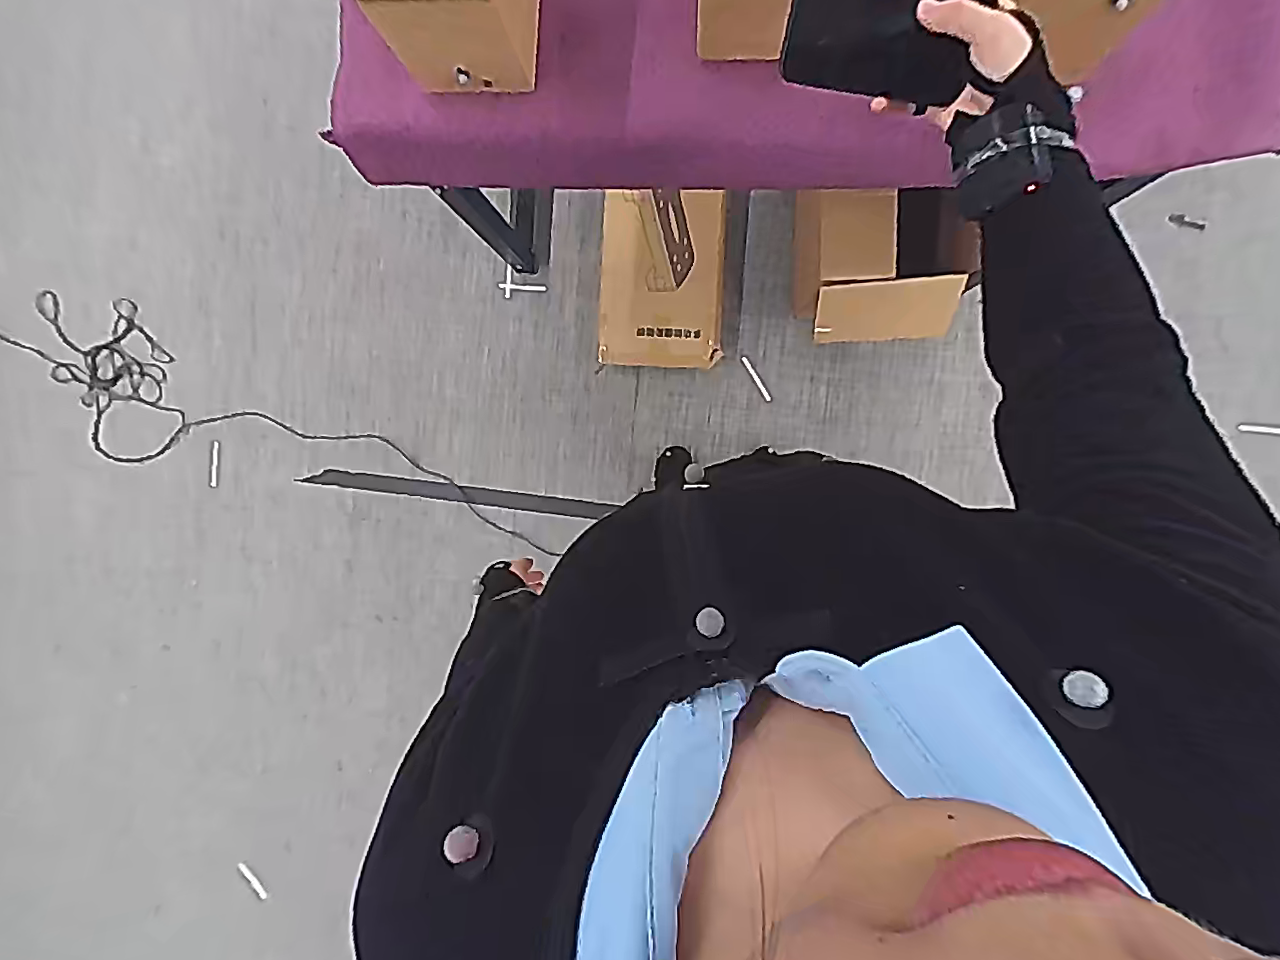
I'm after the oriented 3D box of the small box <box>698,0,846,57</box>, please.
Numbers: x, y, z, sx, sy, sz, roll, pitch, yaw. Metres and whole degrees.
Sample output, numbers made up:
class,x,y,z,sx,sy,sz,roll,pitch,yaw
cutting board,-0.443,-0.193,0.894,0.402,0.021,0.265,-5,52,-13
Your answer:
class,x,y,z,sx,sy,sz,roll,pitch,yaw
small box,0.162,-0.640,0.636,0.179,0.176,0.168,4,91,6

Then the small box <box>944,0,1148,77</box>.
class,x,y,z,sx,sy,sz,roll,pitch,yaw
small box,0.476,-0.595,0.606,0.179,0.176,0.168,11,94,5
